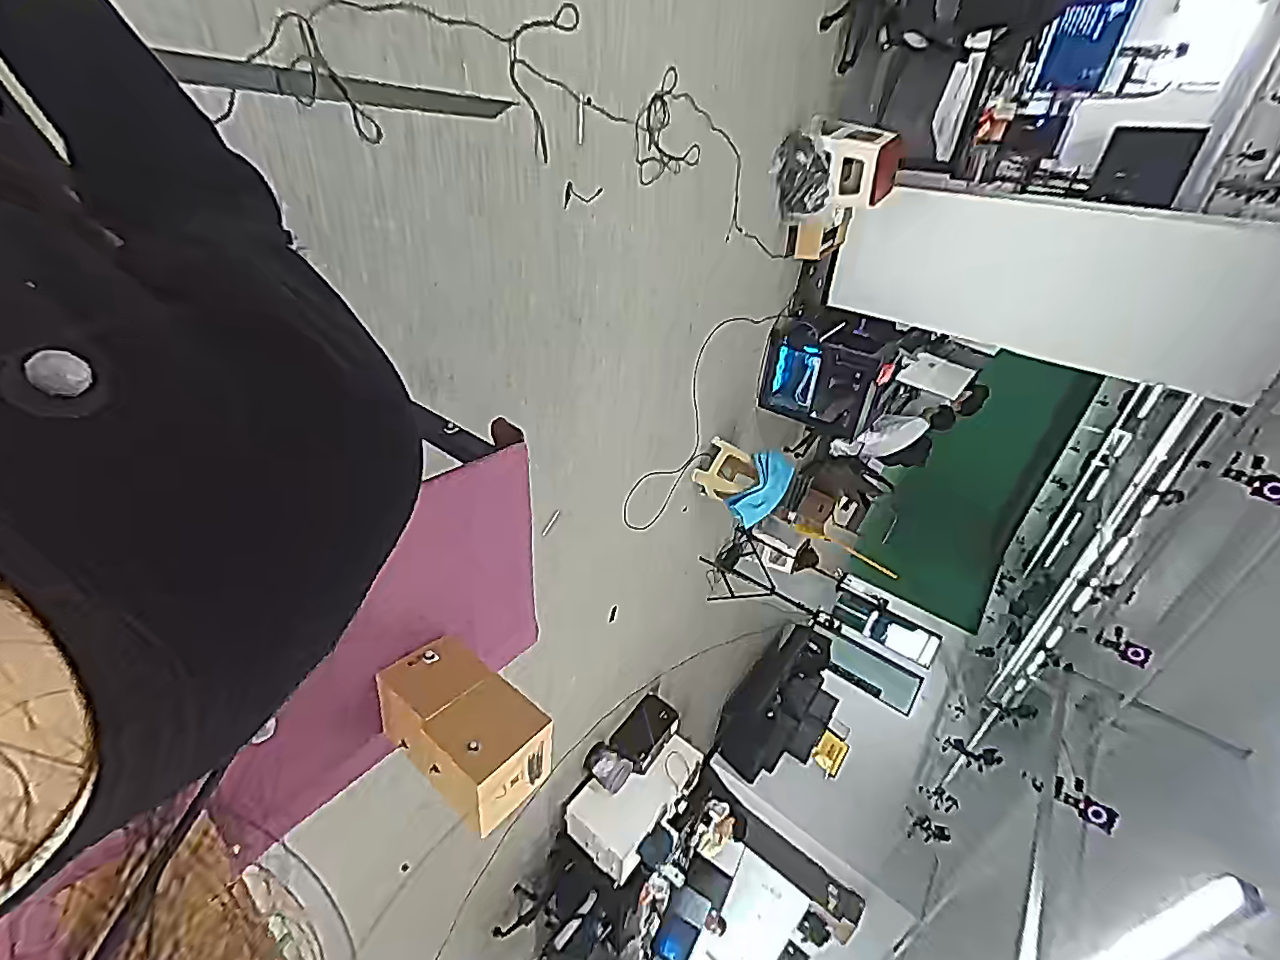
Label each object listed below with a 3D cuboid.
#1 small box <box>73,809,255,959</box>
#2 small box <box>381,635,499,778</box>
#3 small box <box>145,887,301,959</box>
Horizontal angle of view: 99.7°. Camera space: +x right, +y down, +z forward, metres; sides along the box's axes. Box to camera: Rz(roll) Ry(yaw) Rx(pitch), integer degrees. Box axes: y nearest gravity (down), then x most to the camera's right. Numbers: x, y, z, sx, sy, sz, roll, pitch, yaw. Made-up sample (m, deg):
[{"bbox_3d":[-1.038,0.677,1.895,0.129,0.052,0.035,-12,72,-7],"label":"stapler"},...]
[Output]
[{"bbox_3d":[-0.701,0.654,0.813,0.179,0.176,0.168,-29,135,-46],"label":"small box"},{"bbox_3d":[-0.411,0.459,1.121,0.168,0.176,0.179,-27,132,-48],"label":"small box"},{"bbox_3d":[-0.572,0.716,0.733,0.179,0.176,0.168,-28,133,-47],"label":"small box"}]
